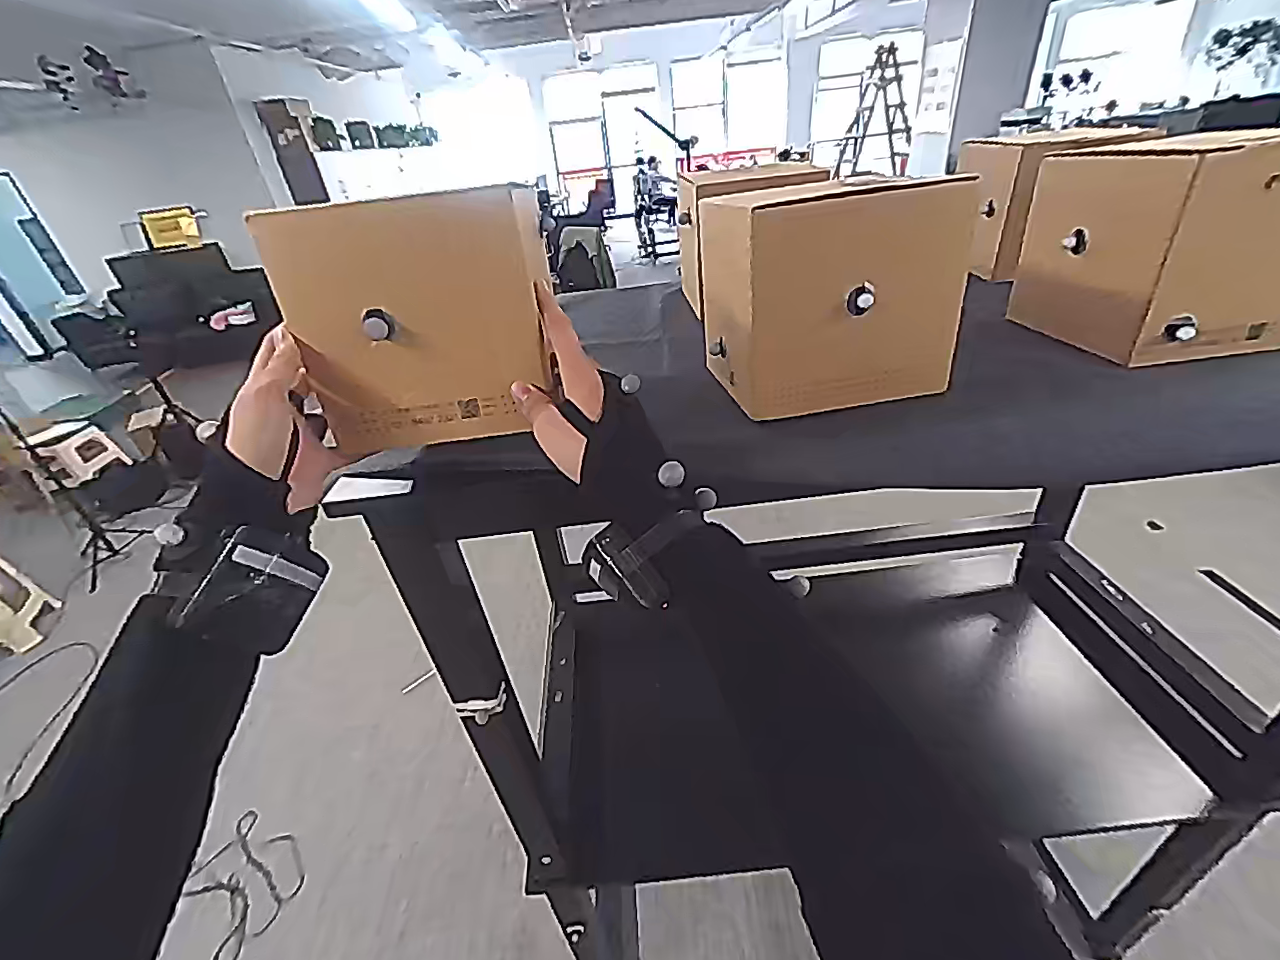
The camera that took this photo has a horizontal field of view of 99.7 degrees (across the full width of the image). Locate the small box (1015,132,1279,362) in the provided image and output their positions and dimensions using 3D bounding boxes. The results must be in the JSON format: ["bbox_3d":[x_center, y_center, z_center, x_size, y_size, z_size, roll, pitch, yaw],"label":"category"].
[{"bbox_3d":[0.498,-0.215,0.506,0.168,0.176,0.179,-7,30,1],"label":"small box"}]

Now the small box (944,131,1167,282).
[{"bbox_3d":[0.561,-0.383,0.763,0.168,0.176,0.179,-3,32,4],"label":"small box"}]

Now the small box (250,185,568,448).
[{"bbox_3d":[-0.155,-0.132,0.439,0.168,0.176,0.179,-8,28,-1],"label":"small box"}]

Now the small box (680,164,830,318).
[{"bbox_3d":[0.151,-0.331,0.756,0.168,0.176,0.179,-6,33,0],"label":"small box"}]
